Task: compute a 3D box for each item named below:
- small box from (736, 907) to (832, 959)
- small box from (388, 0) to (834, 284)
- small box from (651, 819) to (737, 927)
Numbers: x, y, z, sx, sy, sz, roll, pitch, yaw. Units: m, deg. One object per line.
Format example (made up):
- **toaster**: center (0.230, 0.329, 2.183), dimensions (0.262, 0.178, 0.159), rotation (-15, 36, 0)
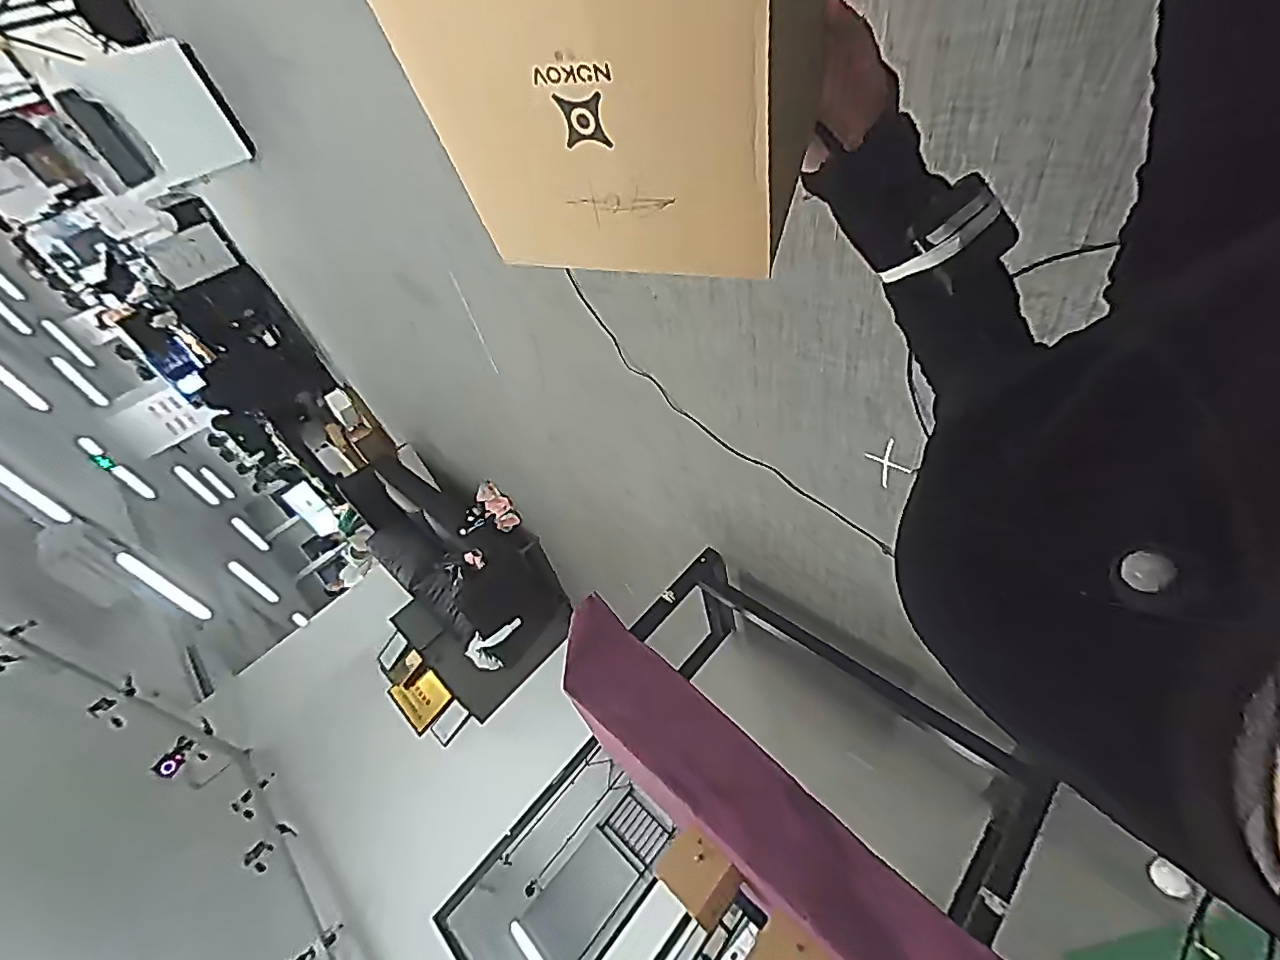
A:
- **small box**: center (0.375, 1.253, 1.399), dimensions (0.179, 0.176, 0.168), rotation (27, 148, 38)
- **small box**: center (0.005, -0.233, 0.279), dimensions (0.168, 0.176, 0.179), rotation (12, 156, 18)
- **small box**: center (0.166, 1.145, 1.584), dimensions (0.168, 0.176, 0.179), rotation (23, 144, 42)
